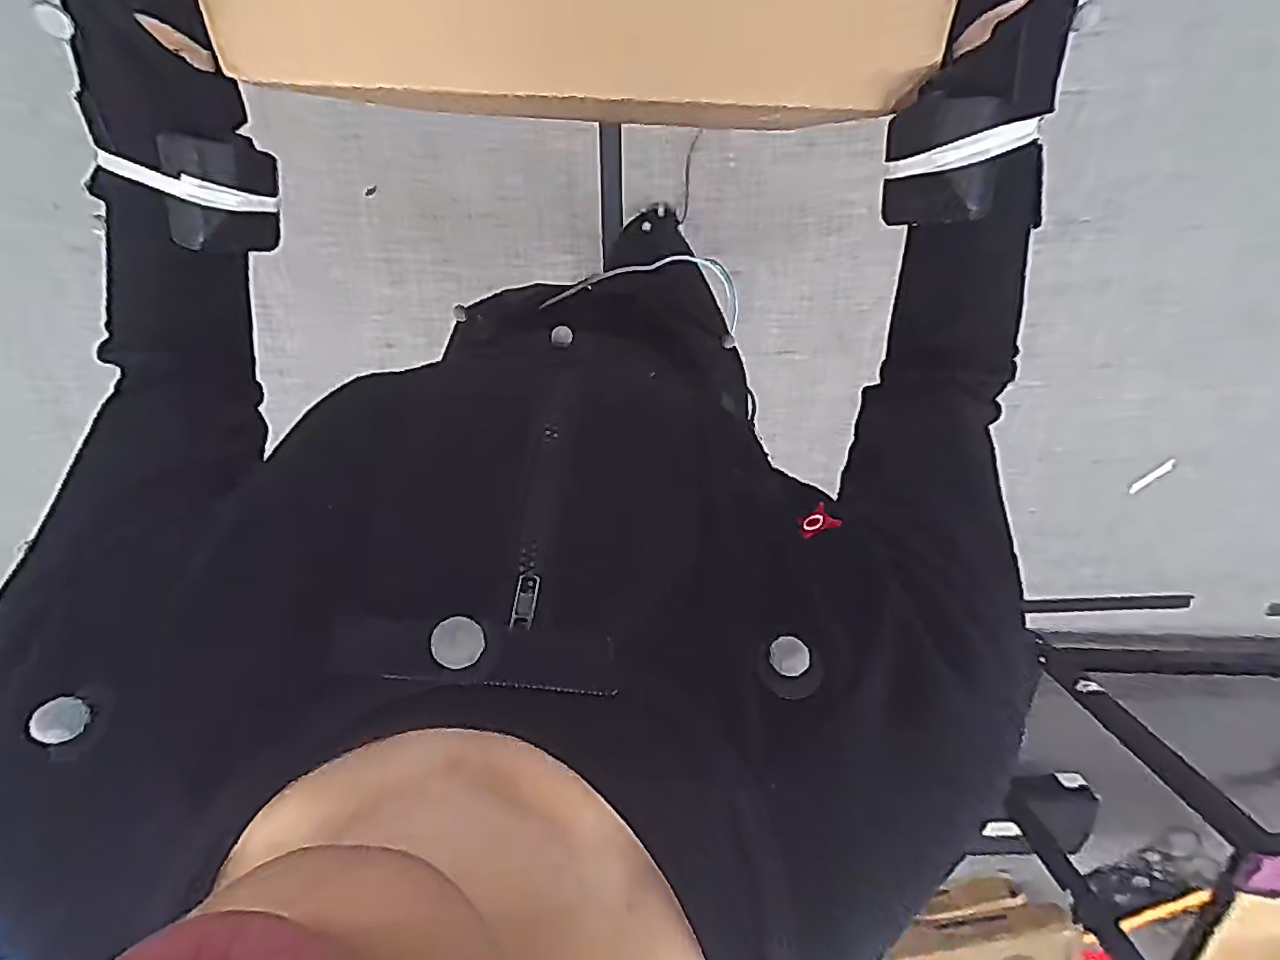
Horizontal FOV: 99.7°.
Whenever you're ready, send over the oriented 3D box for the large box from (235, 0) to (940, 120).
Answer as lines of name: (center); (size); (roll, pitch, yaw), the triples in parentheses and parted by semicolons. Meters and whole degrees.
large box: (-0.027, -0.443, 0.371); (0.408, 0.320, 0.320); (2, 123, -1)
